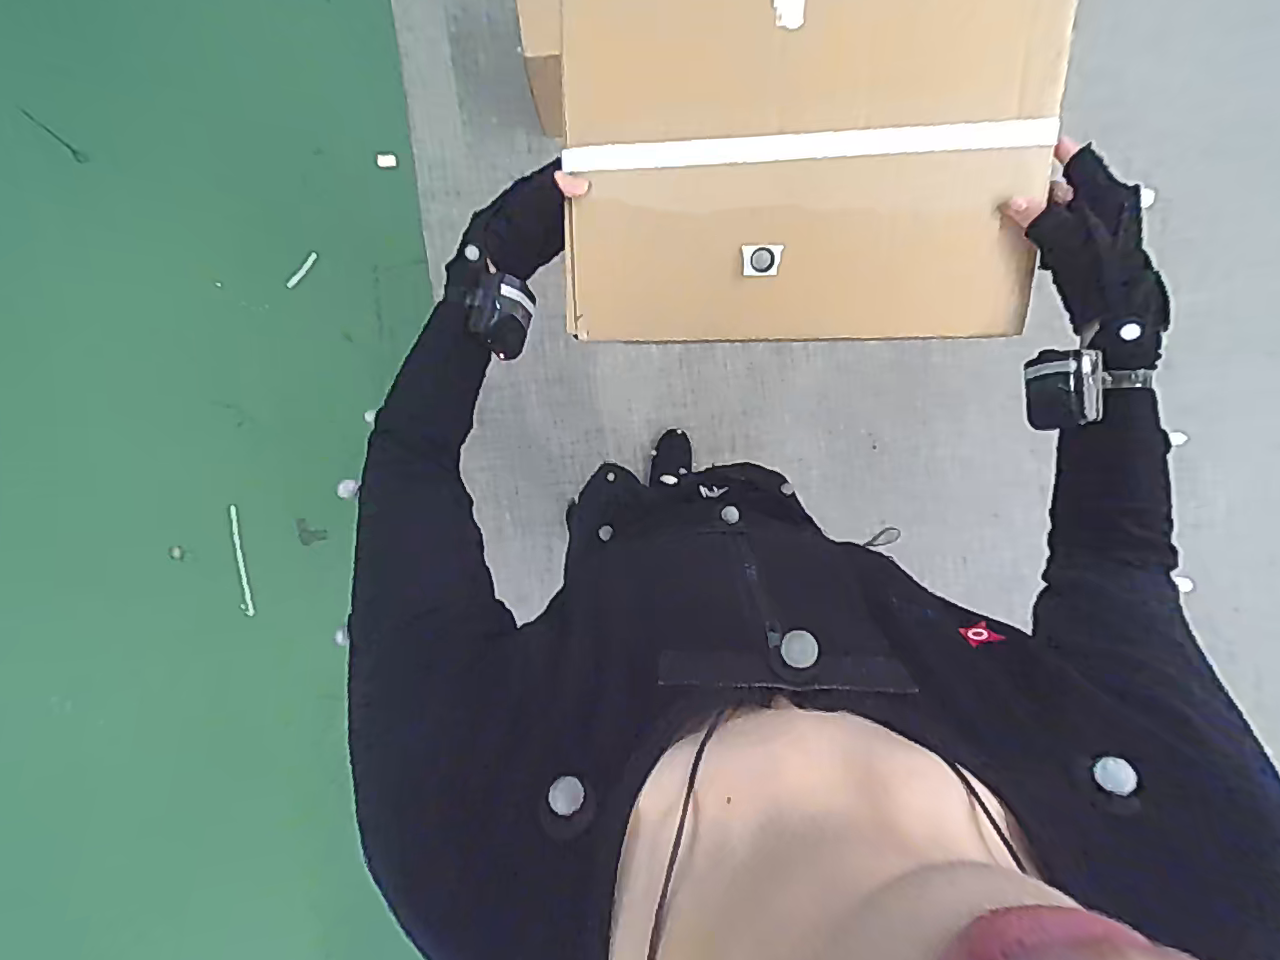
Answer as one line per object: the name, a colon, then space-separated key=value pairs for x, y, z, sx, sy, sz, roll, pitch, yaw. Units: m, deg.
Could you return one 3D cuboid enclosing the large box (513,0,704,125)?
large box: x=-0.079 y=-1.104 z=1.283 sx=0.408 sy=0.320 sz=0.320 roll=-7 pitch=94 yaw=0
